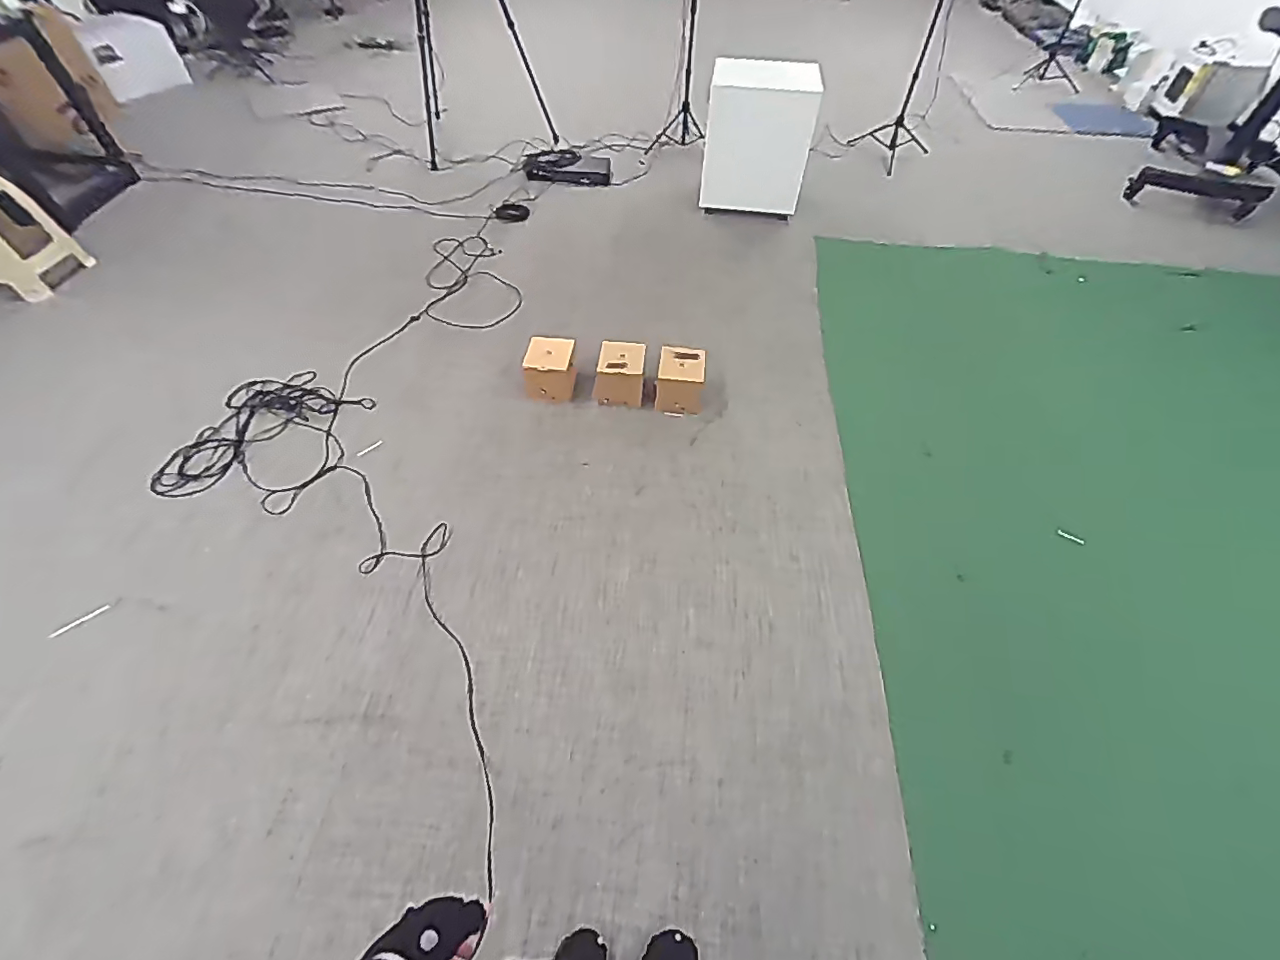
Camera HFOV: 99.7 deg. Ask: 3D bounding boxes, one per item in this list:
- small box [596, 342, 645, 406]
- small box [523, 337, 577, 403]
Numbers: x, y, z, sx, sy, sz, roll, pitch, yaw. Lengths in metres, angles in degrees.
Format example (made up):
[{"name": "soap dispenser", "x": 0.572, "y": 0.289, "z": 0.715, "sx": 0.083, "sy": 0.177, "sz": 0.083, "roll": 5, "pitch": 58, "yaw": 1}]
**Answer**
[{"name": "small box", "x": -0.070, "y": -0.399, "z": 2.048, "sx": 0.168, "sy": 0.176, "sz": 0.179, "roll": 4, "pitch": 52, "yaw": 3}, {"name": "small box", "x": -0.335, "y": -0.417, "z": 2.060, "sx": 0.168, "sy": 0.176, "sz": 0.179, "roll": 5, "pitch": 53, "yaw": 3}]
